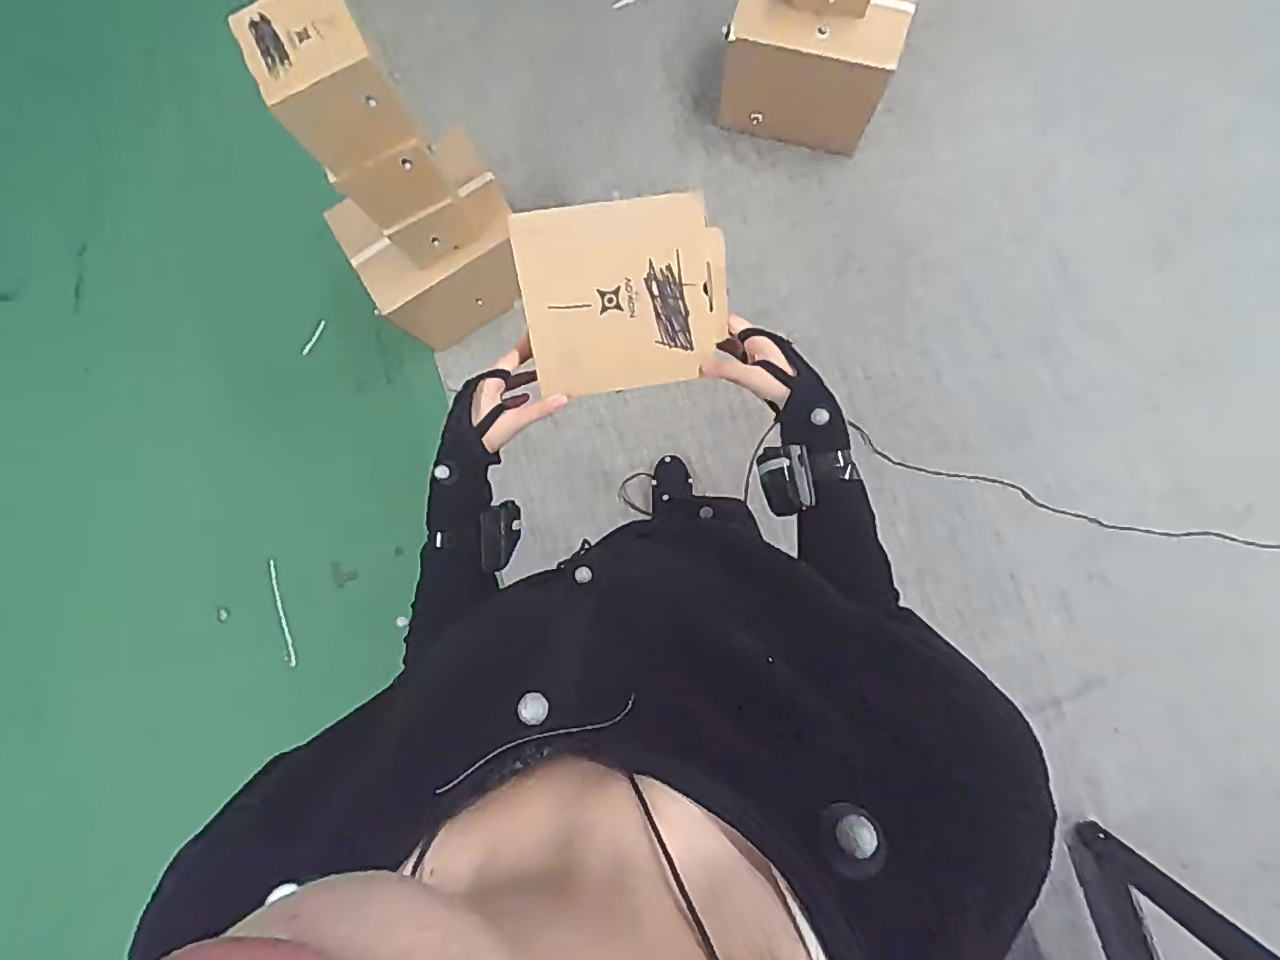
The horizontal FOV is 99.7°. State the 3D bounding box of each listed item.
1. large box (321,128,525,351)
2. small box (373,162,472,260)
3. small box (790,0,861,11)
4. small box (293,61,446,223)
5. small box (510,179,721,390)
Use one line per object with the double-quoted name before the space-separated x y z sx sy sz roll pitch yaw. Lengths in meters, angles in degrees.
"large box" -0.523 -0.614 1.448 0.408 0.320 0.320 -32 84 2
"small box" -0.500 -0.617 1.200 0.168 0.176 0.179 -27 86 1
"small box" 0.438 -1.181 1.179 0.179 0.176 0.168 12 85 3
"small box" -0.509 -0.635 1.039 0.179 0.176 0.168 -25 85 1
"small box" -0.028 -0.200 0.559 0.179 0.176 0.168 -10 111 -5
